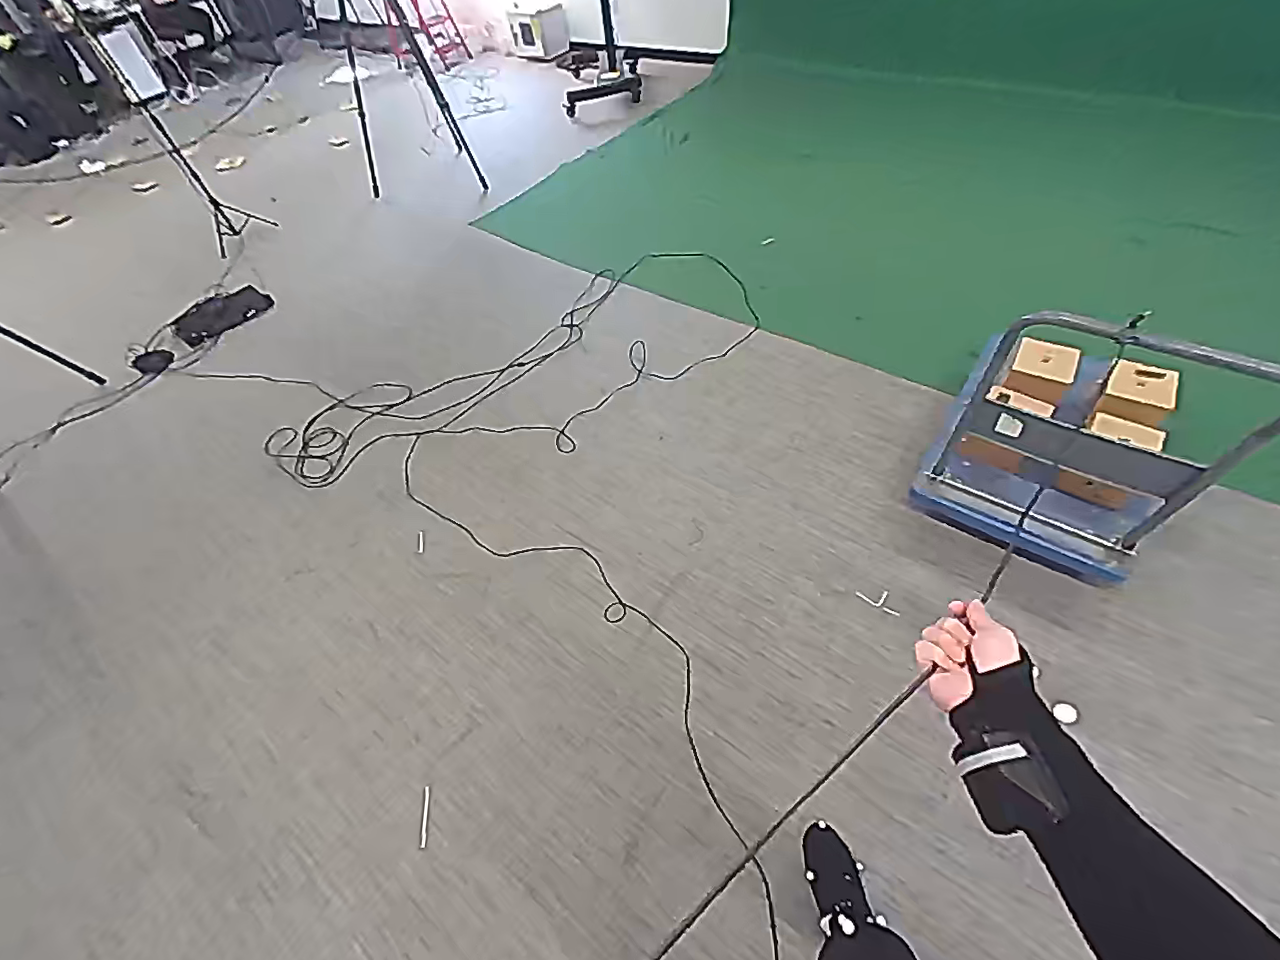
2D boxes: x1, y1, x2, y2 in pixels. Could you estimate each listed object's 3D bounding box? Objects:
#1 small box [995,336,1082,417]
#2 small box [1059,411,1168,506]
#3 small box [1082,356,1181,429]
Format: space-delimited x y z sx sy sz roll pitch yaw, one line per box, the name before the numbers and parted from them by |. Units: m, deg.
small box | 1.298 -0.336 1.771 0.168 0.176 0.179 24 60 24
small box | 1.350 -0.061 1.552 0.168 0.176 0.179 28 62 26
small box | 1.509 -0.246 1.668 0.168 0.176 0.179 23 60 25
